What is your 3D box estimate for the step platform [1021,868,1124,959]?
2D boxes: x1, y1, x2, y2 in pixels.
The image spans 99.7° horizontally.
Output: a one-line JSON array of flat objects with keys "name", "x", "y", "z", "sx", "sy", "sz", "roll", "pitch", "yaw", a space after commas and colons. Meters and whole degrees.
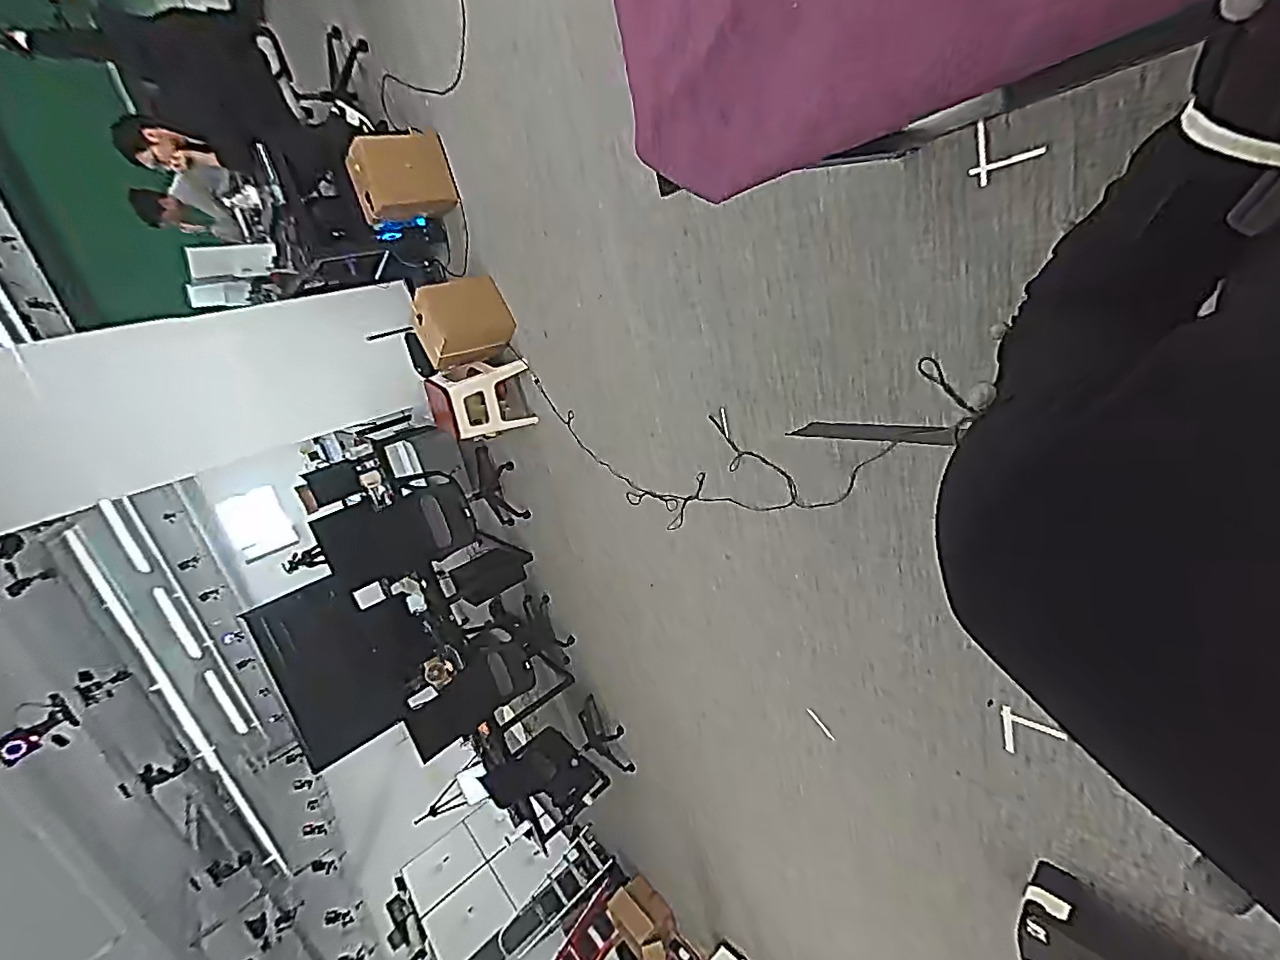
[{"name": "step platform", "x": 1.424, "y": 1.399, "z": 1.430, "sx": 0.684, "sy": 0.204, "sz": 0.286, "roll": 9, "pitch": 120, "yaw": 51}]
